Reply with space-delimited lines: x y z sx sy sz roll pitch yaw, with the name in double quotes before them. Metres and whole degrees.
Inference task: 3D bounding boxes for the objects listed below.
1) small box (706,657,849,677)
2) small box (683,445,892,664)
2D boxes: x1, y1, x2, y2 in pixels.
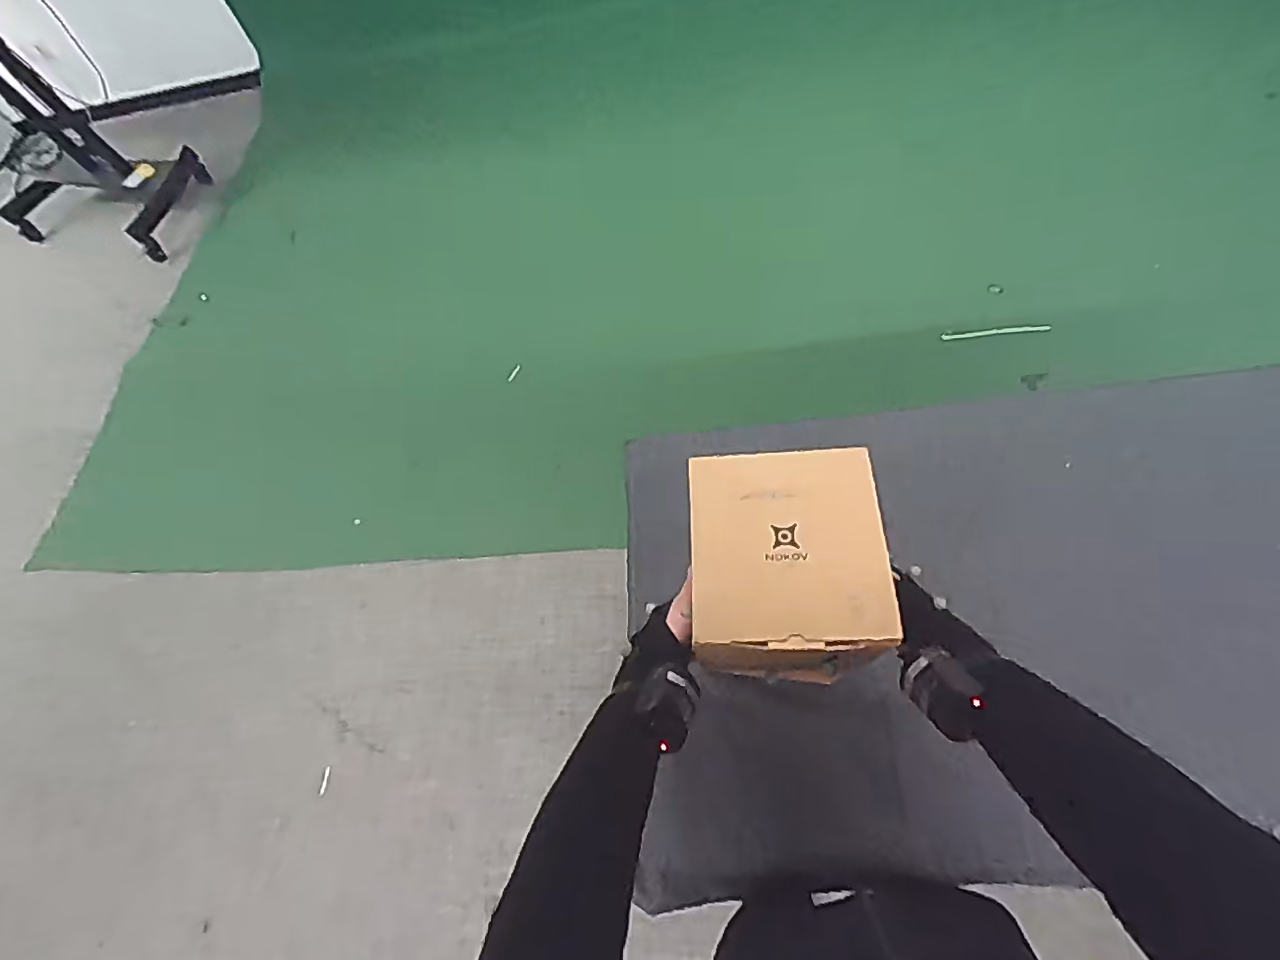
"small box" 0.166 0.148 0.689 0.168 0.176 0.179 3 64 10
"small box" 0.132 0.084 0.541 0.168 0.176 0.179 -3 62 7
